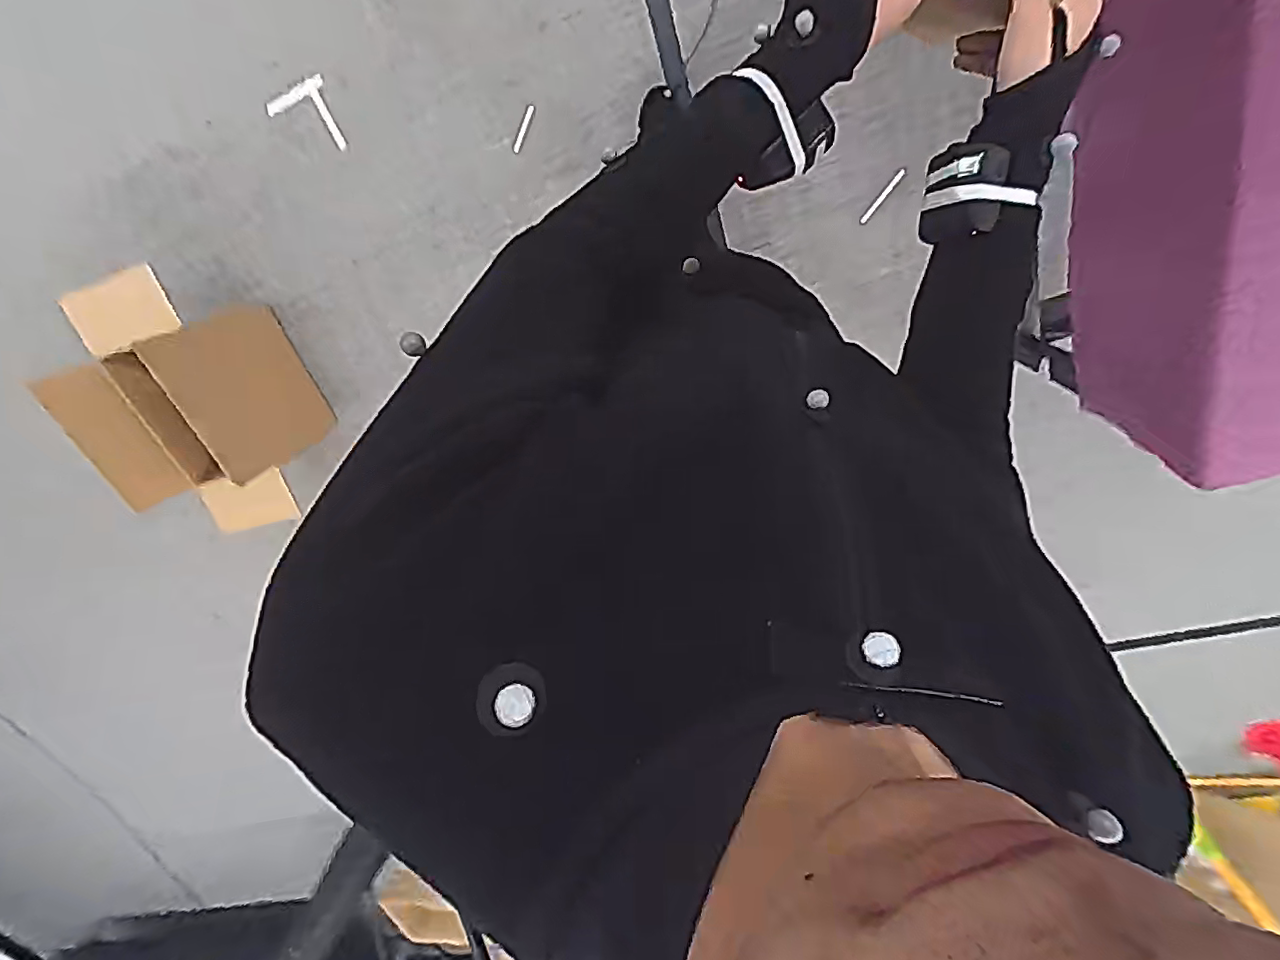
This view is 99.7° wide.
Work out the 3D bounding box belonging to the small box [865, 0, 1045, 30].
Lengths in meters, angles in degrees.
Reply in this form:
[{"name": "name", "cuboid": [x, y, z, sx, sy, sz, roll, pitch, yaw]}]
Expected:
[{"name": "small box", "cuboid": [0.240, -0.480, 0.407, 0.168, 0.176, 0.179, 11, 120, -13]}]
